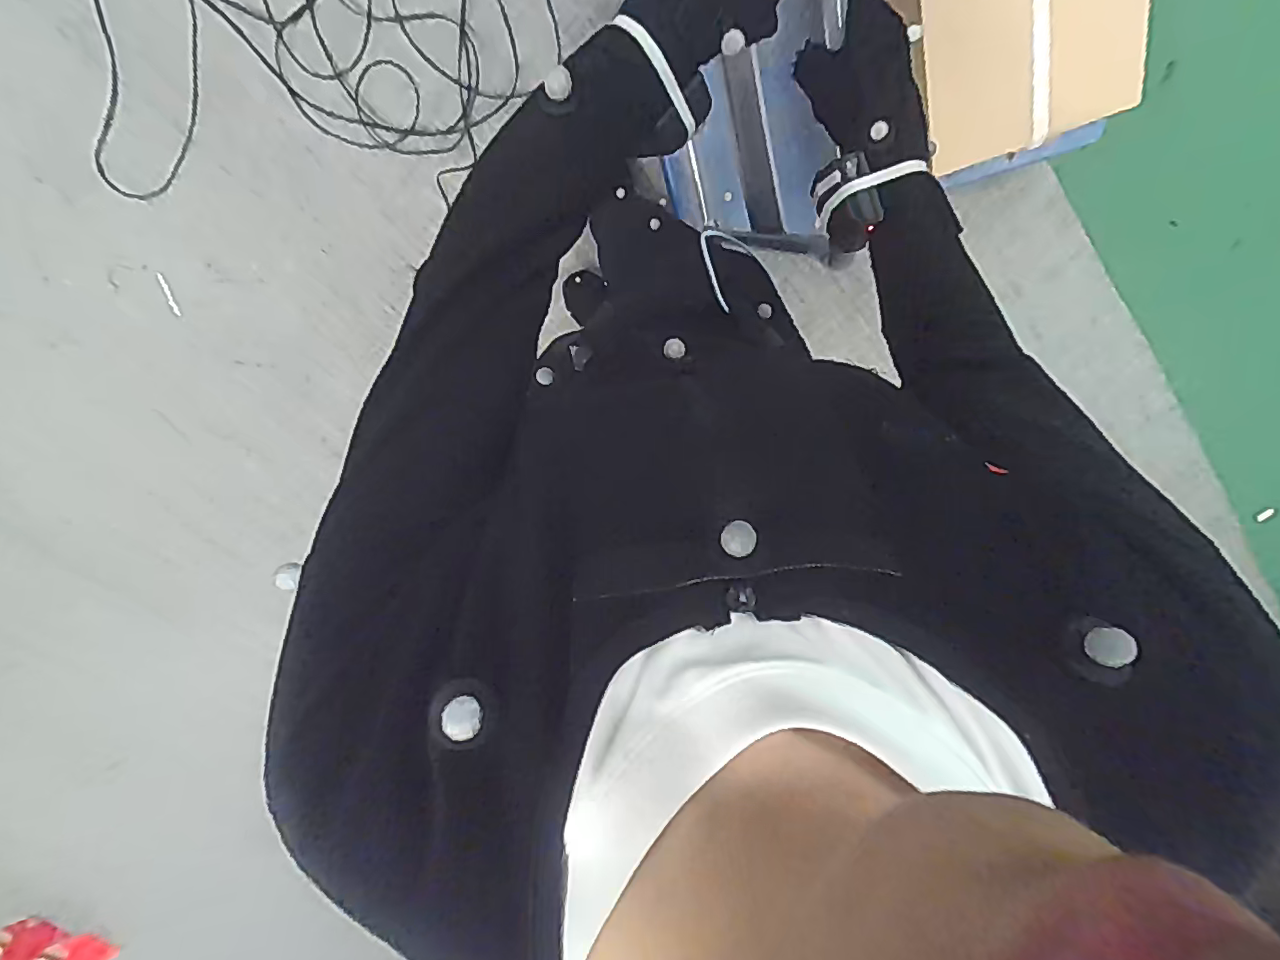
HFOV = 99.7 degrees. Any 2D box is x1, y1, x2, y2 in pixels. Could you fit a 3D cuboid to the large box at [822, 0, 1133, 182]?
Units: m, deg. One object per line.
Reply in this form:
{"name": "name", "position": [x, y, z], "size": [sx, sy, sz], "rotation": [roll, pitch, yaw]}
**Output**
{"name": "large box", "position": [0.511, -0.754, 0.869], "size": [0.320, 0.320, 0.408], "rotation": [-19, 115, 4]}
